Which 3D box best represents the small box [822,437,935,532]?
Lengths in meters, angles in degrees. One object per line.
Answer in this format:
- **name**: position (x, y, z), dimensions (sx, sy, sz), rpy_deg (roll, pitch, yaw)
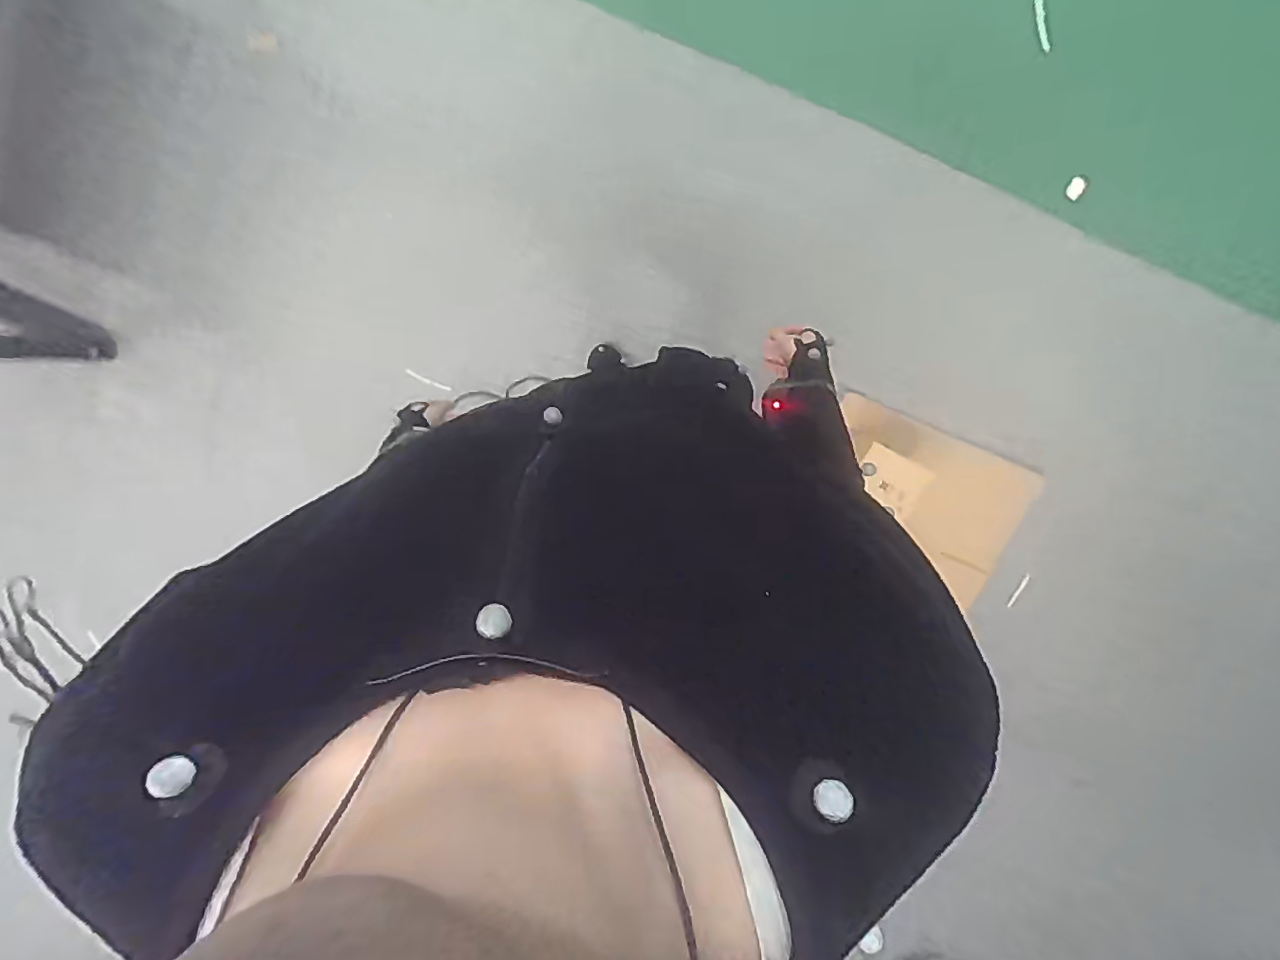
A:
- **small box**: position (0.594, 0.002, 1.375), dimensions (0.179, 0.176, 0.168), rpy_deg (29, 103, -3)
